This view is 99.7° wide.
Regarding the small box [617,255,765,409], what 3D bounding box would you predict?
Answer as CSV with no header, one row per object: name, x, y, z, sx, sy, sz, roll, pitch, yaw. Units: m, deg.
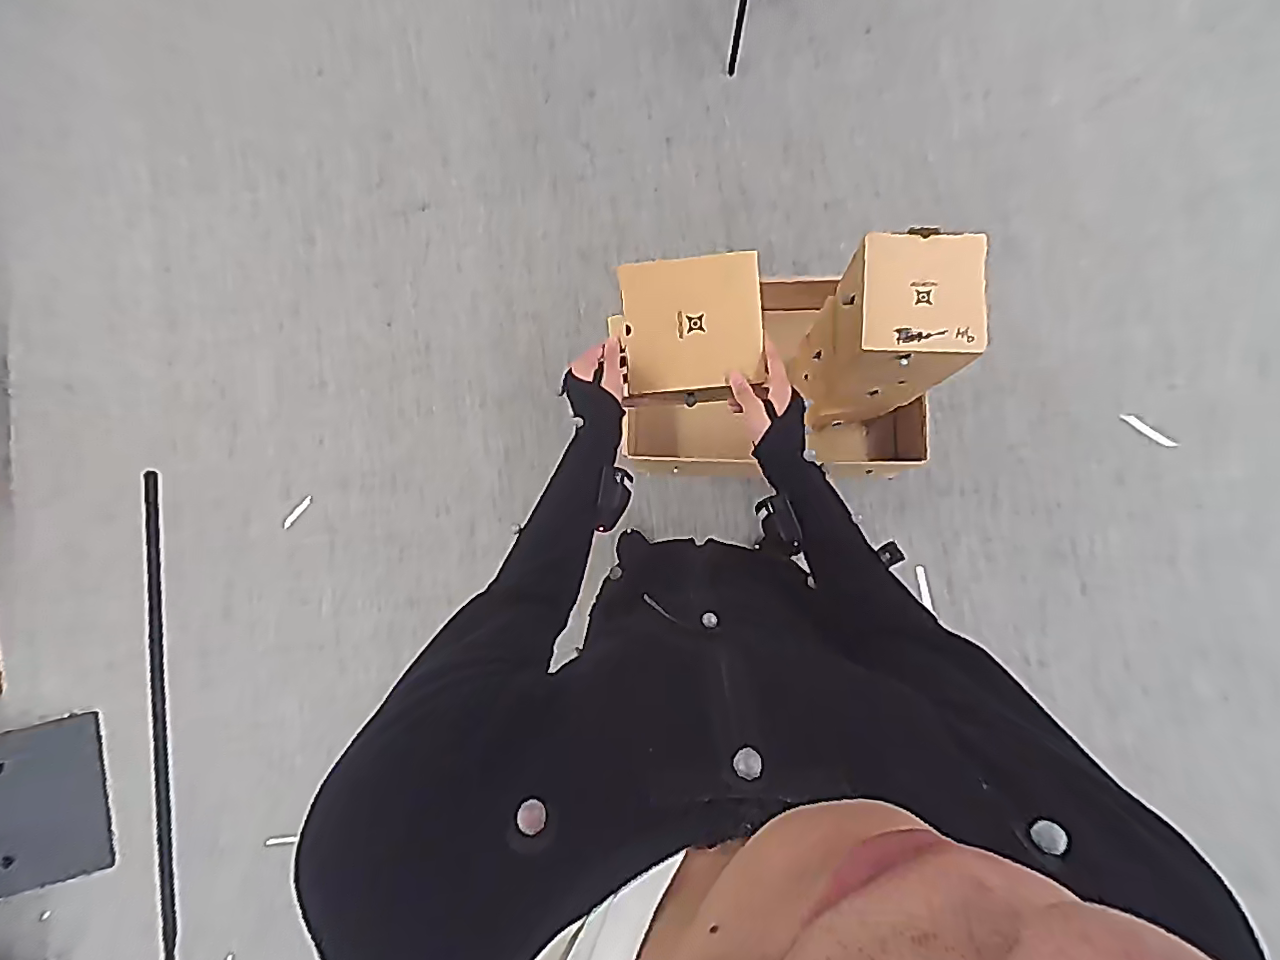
small box,0.069,-0.191,0.746,0.179,0.176,0.168,-4,92,6

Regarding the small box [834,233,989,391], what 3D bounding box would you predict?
small box,0.400,-0.247,0.822,0.168,0.176,0.179,4,83,7

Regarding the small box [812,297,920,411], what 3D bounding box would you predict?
small box,0.415,-0.225,0.984,0.179,0.176,0.168,-2,84,6
